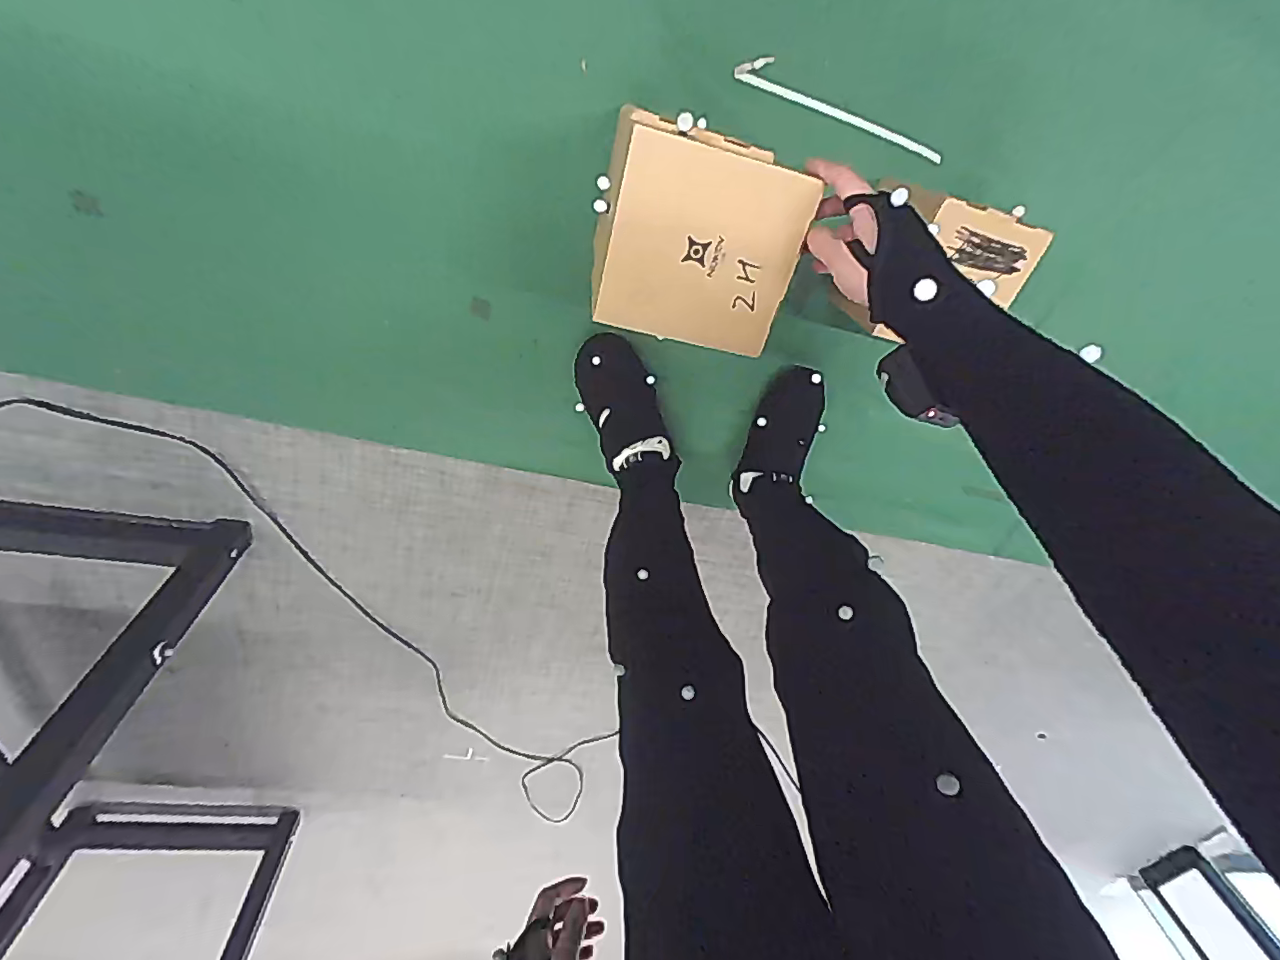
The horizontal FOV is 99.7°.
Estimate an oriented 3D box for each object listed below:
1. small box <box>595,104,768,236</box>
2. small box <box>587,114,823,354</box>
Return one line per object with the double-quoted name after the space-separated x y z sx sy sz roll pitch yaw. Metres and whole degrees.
0.037 -0.349 0.685 0.168 0.176 0.179 10 122 -12 "small box"
0.047 -0.252 0.552 0.179 0.176 0.168 10 123 -12 "small box"
